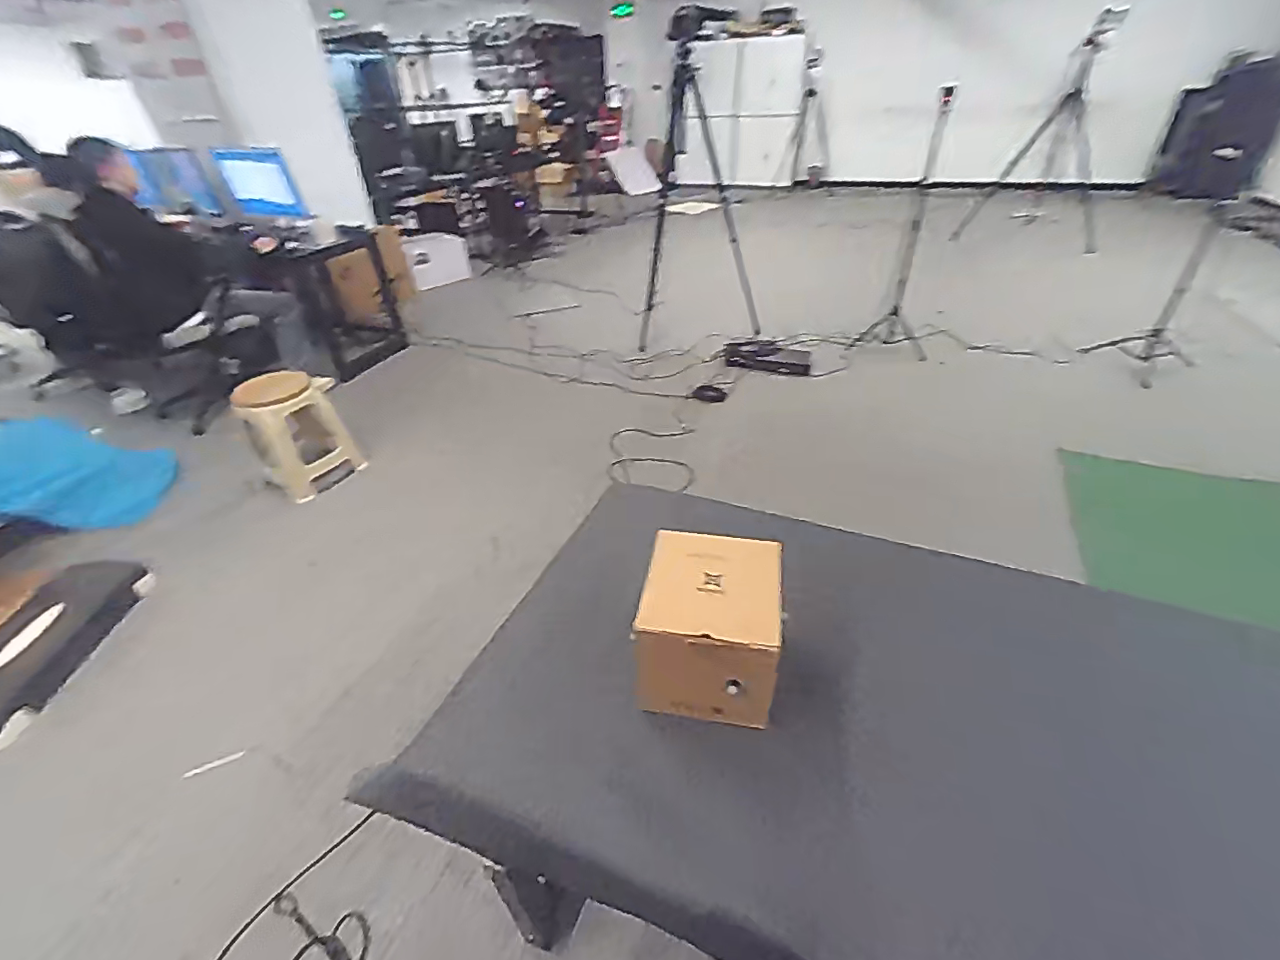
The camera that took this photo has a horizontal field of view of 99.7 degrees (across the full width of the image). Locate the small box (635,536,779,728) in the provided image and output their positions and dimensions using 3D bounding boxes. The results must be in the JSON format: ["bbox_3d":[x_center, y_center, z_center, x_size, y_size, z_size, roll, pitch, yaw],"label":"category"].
[{"bbox_3d":[0.093,0.200,0.719,0.168,0.176,0.179,5,35,9],"label":"small box"}]
